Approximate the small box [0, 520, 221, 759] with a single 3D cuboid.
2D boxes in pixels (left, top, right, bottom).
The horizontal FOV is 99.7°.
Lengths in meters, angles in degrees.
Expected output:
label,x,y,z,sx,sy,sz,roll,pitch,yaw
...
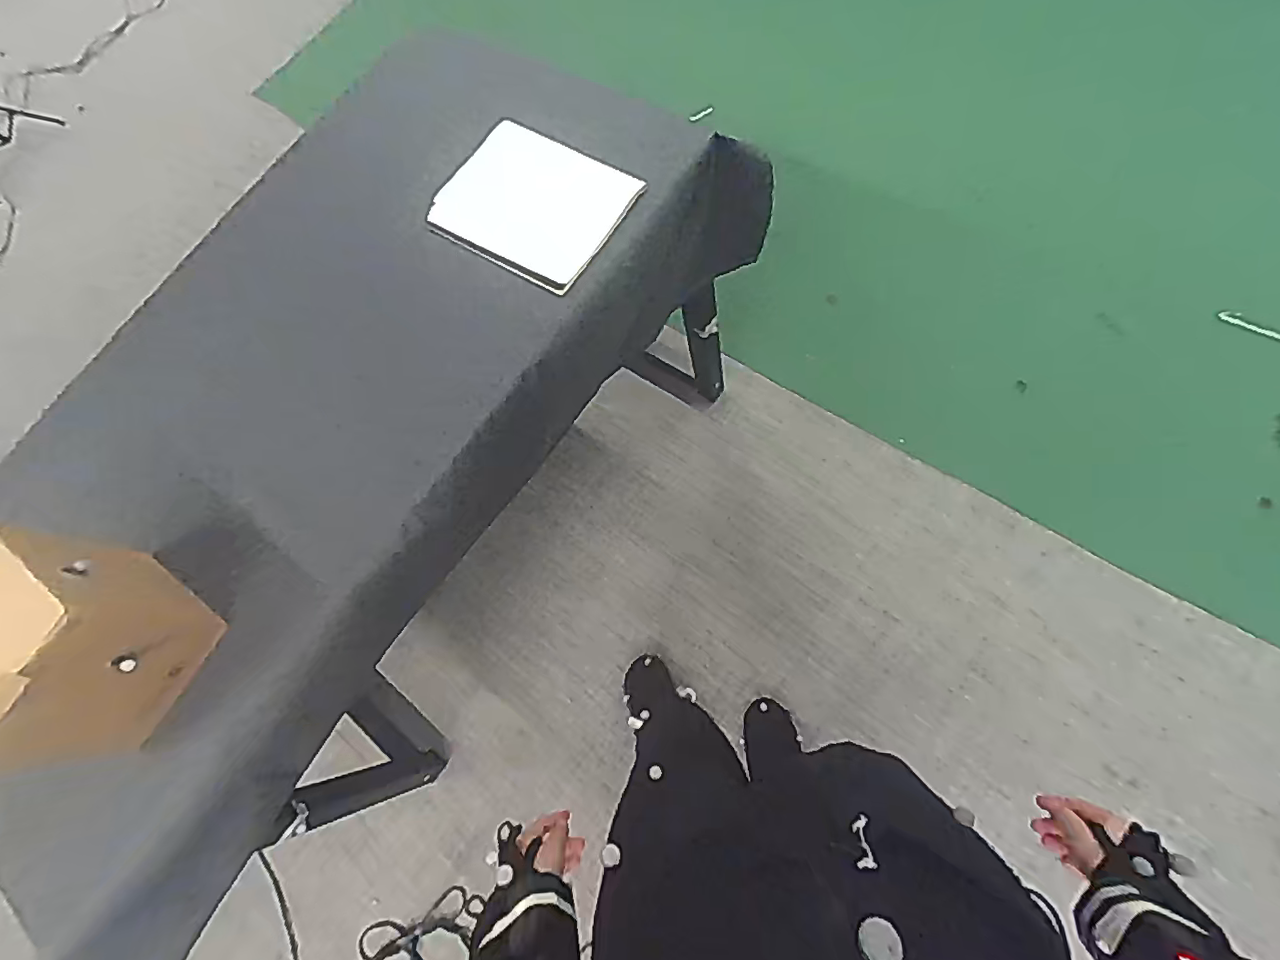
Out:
label,x,y,z,sx,sy,sz,roll,pitch,yaw
small box,-0.606,0.165,0.570,0.179,0.176,0.168,28,78,20
